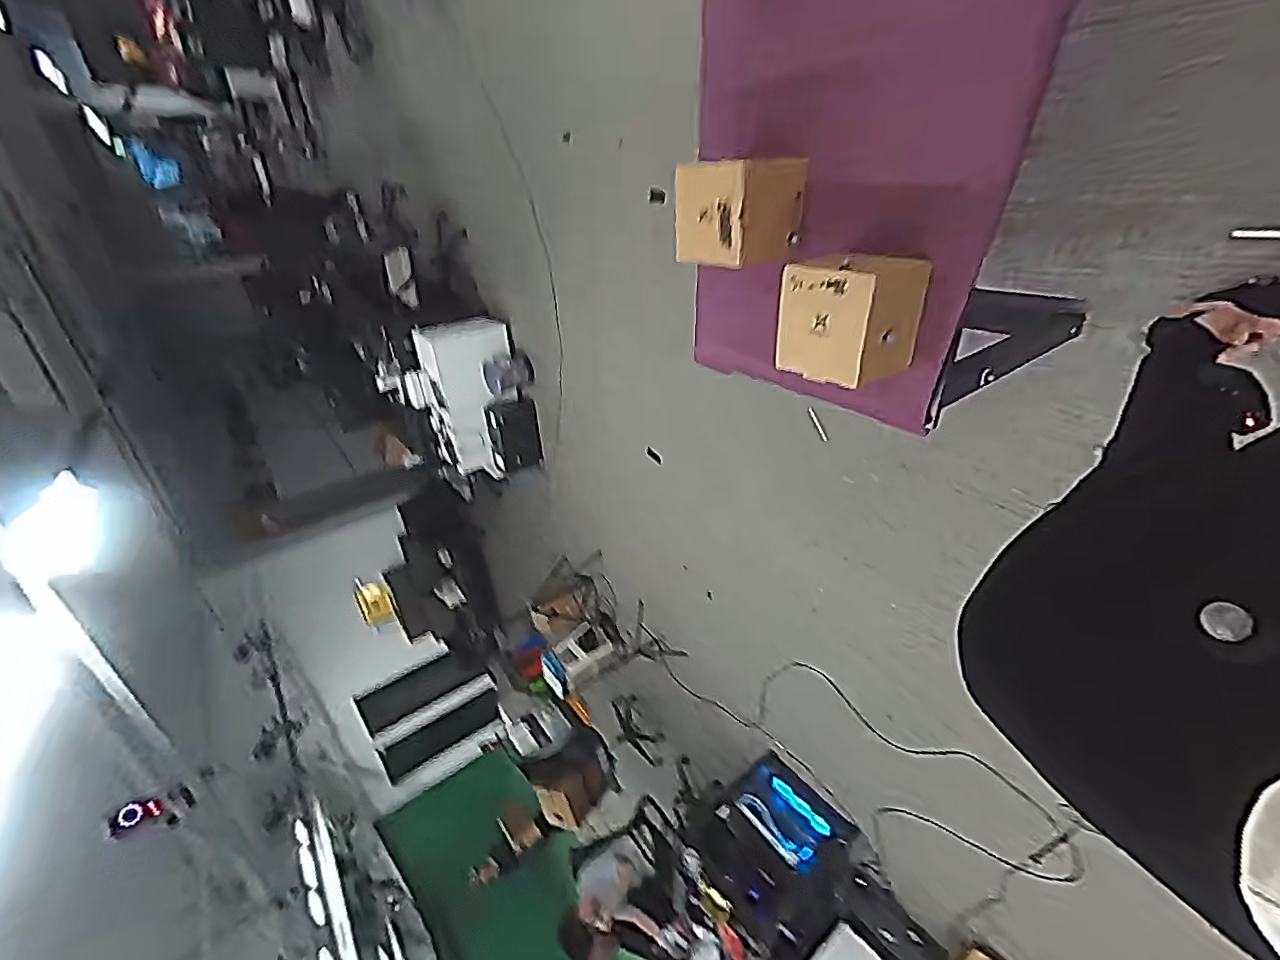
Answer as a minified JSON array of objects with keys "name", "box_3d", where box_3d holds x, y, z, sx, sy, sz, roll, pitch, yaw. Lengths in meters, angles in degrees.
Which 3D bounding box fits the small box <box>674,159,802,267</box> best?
[{"name":"small box","box_3d":[0.186,-0.510,1.028,0.179,0.176,0.168,31,134,45]}]

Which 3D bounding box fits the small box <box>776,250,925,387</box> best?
[{"name":"small box","box_3d":[0.353,-0.280,0.917,0.168,0.176,0.179,31,135,44]}]
